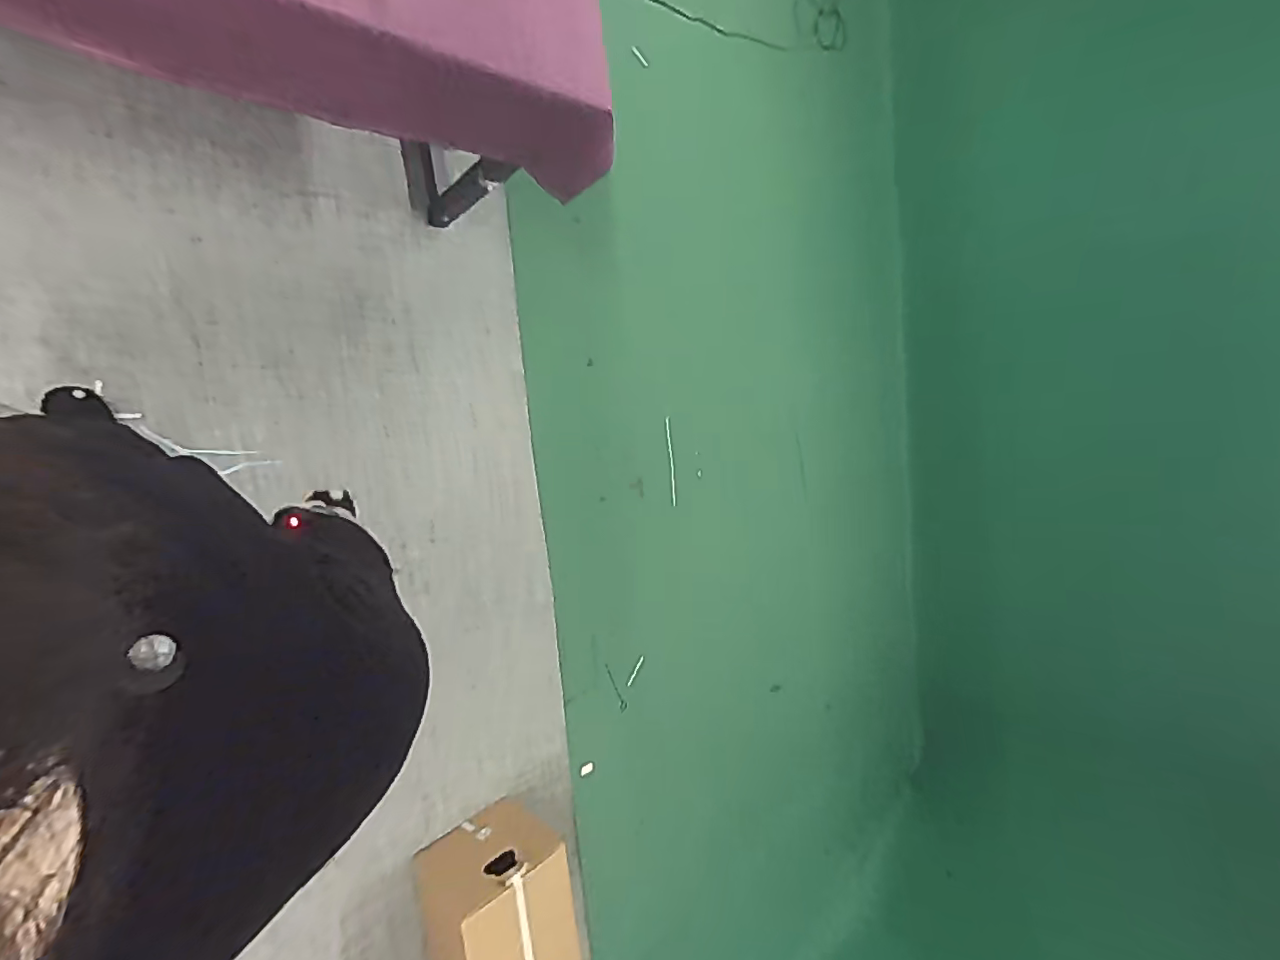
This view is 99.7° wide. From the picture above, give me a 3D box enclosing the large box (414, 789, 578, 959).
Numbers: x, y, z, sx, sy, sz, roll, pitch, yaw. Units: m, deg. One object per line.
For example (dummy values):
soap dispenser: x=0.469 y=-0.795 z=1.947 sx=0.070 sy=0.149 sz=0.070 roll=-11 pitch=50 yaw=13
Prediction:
large box: x=-0.411 y=1.204 z=1.548 sx=0.320 sy=0.320 sz=0.408 roll=-13 pitch=101 yaw=-43
